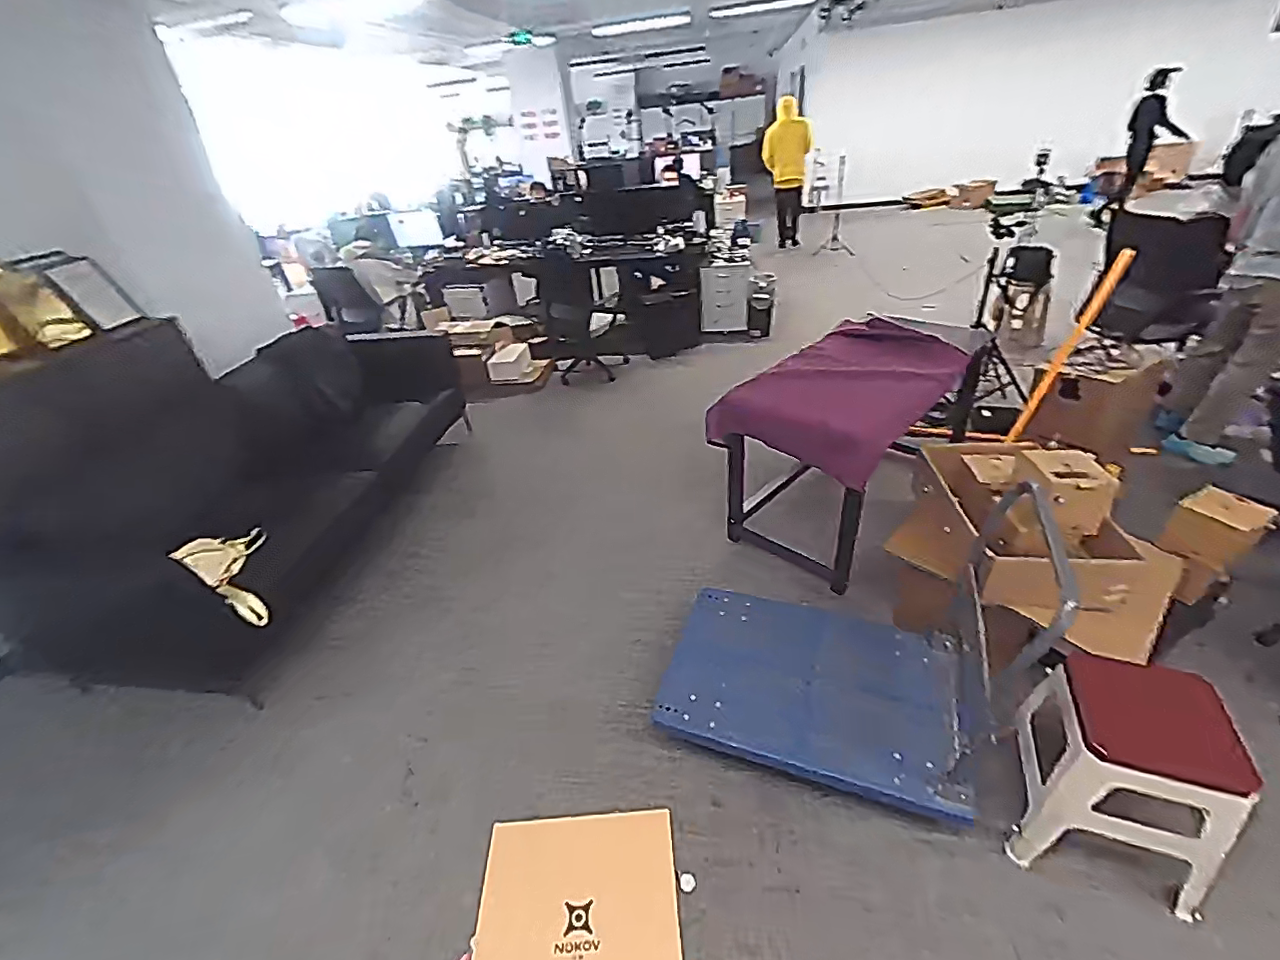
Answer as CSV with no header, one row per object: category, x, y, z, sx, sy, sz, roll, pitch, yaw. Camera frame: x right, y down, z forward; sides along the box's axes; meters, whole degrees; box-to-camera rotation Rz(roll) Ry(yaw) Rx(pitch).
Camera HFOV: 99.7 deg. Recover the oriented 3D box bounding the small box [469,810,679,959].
small box,-0.049,0.431,0.484,0.168,0.176,0.179,-5,34,0
